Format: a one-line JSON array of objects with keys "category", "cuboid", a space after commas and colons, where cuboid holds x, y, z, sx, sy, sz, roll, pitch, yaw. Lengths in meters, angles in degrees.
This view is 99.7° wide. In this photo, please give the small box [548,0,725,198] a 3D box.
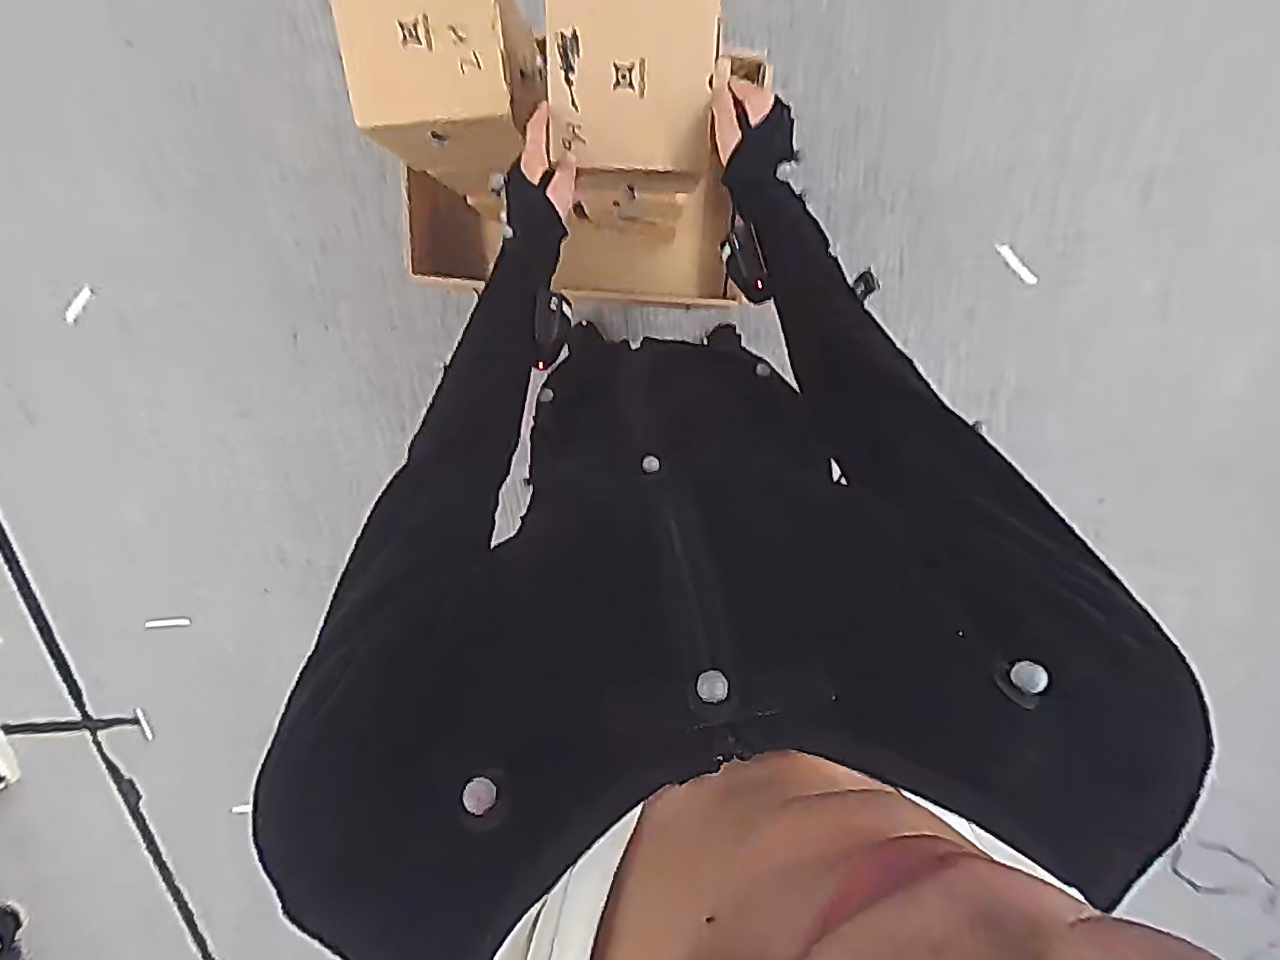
[{"category": "small box", "cuboid": [-0.010, -0.431, 0.626, 0.179, 0.176, 0.168, 1, 111, -3]}]

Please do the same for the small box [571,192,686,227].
[{"category": "small box", "cuboid": [-0.003, -0.498, 0.821, 0.168, 0.176, 0.179, 8, 105, -1]}]
